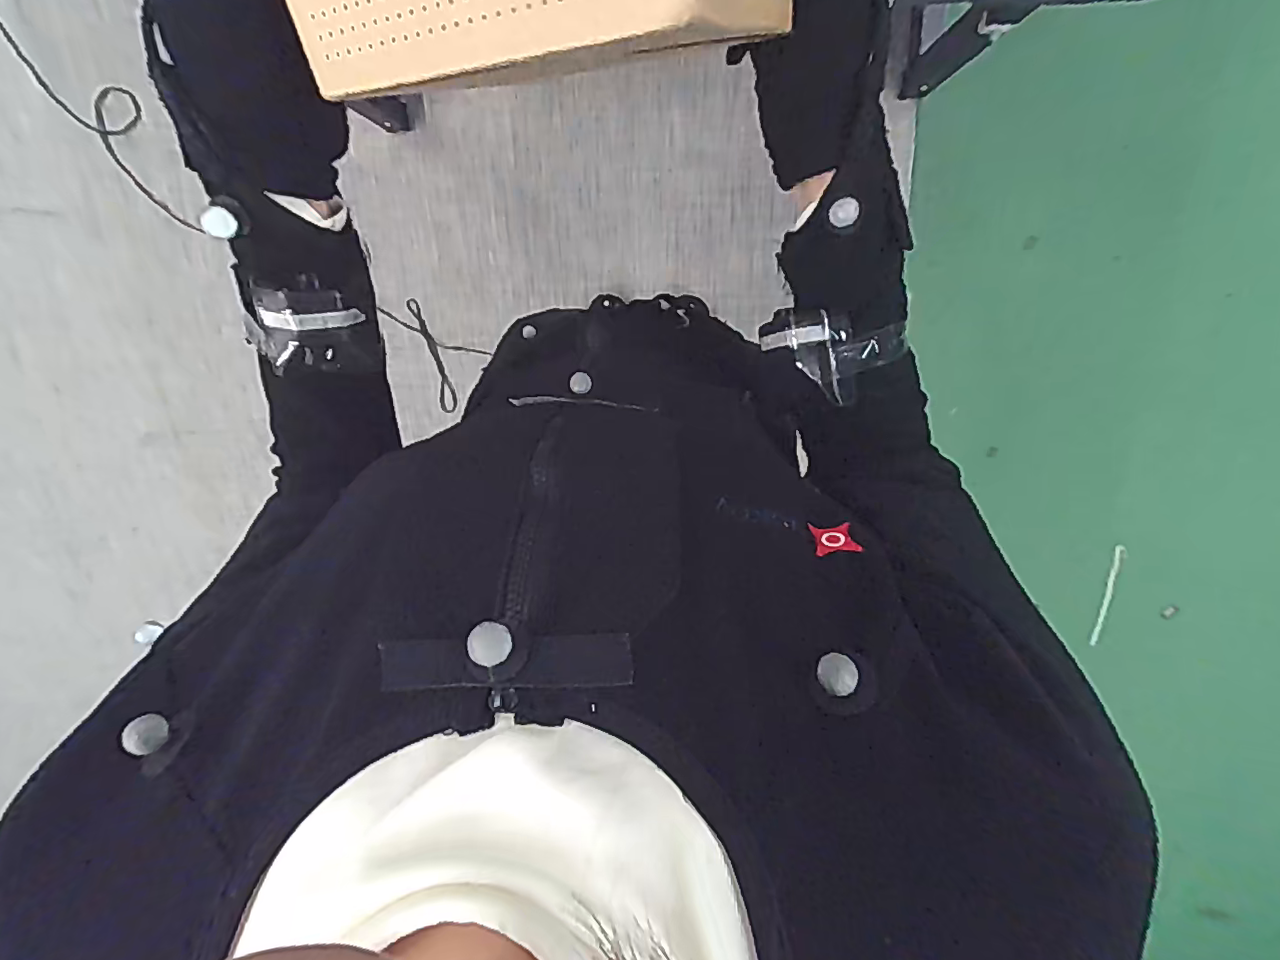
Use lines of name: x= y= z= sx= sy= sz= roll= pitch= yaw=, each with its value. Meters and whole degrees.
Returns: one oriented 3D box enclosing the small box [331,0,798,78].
small box: x=-0.035 y=-0.279 z=0.220 sx=0.179 sy=0.168 sz=0.176 roll=10 pitch=130 yaw=23
